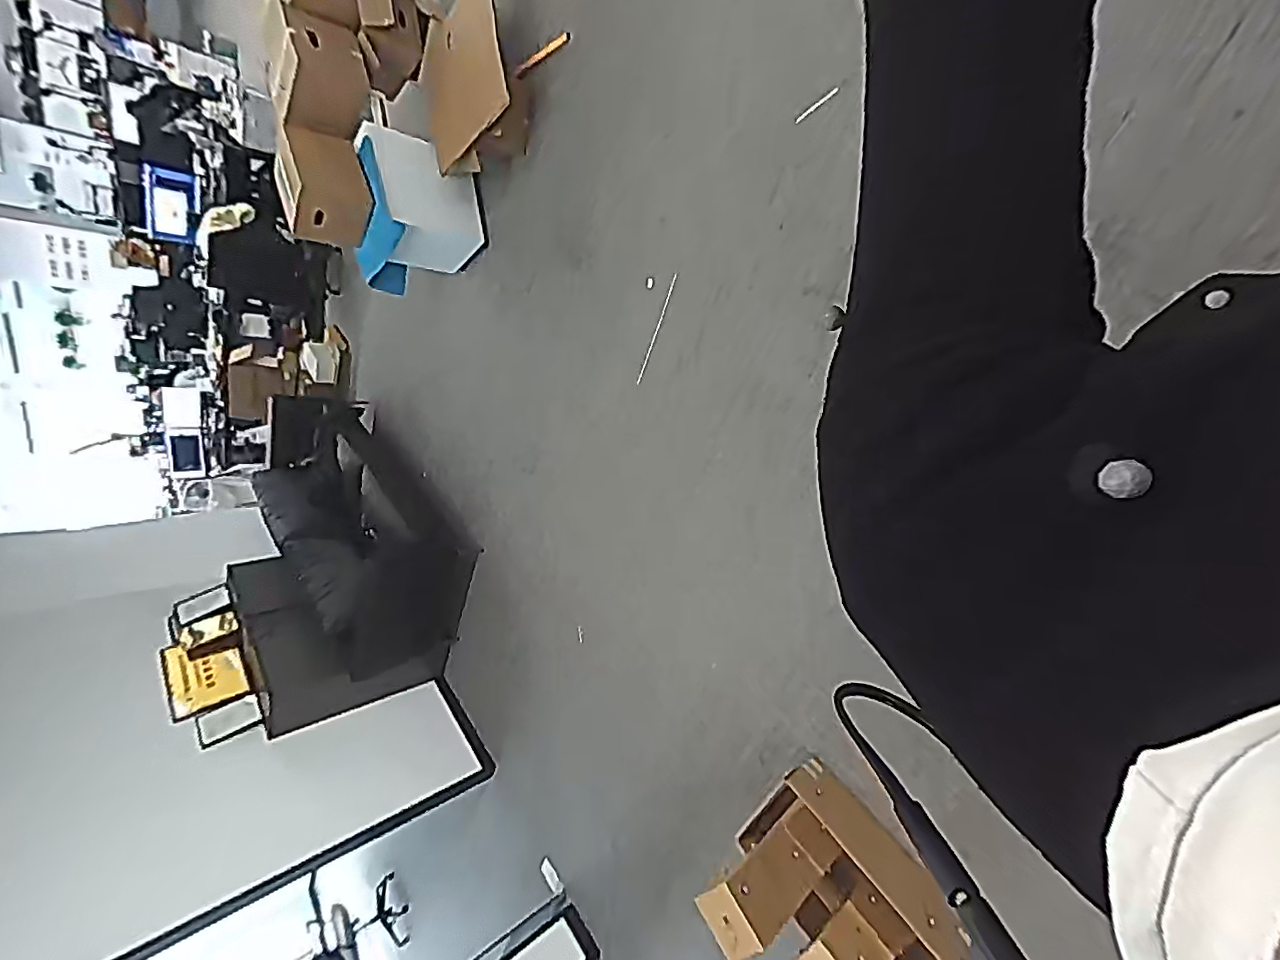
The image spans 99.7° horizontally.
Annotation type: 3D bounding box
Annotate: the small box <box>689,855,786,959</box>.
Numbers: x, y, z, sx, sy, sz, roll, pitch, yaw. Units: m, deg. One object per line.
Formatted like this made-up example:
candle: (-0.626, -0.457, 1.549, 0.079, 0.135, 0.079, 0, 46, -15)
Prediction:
small box: (0.280, 1.225, 1.559, 0.179, 0.176, 0.168, 53, 127, 27)

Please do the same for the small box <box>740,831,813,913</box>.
small box: (0.398, 1.231, 1.677, 0.179, 0.176, 0.168, 46, 123, 32)

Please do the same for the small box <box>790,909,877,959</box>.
small box: (0.552, 1.385, 1.542, 0.168, 0.176, 0.179, 42, 122, 36)
